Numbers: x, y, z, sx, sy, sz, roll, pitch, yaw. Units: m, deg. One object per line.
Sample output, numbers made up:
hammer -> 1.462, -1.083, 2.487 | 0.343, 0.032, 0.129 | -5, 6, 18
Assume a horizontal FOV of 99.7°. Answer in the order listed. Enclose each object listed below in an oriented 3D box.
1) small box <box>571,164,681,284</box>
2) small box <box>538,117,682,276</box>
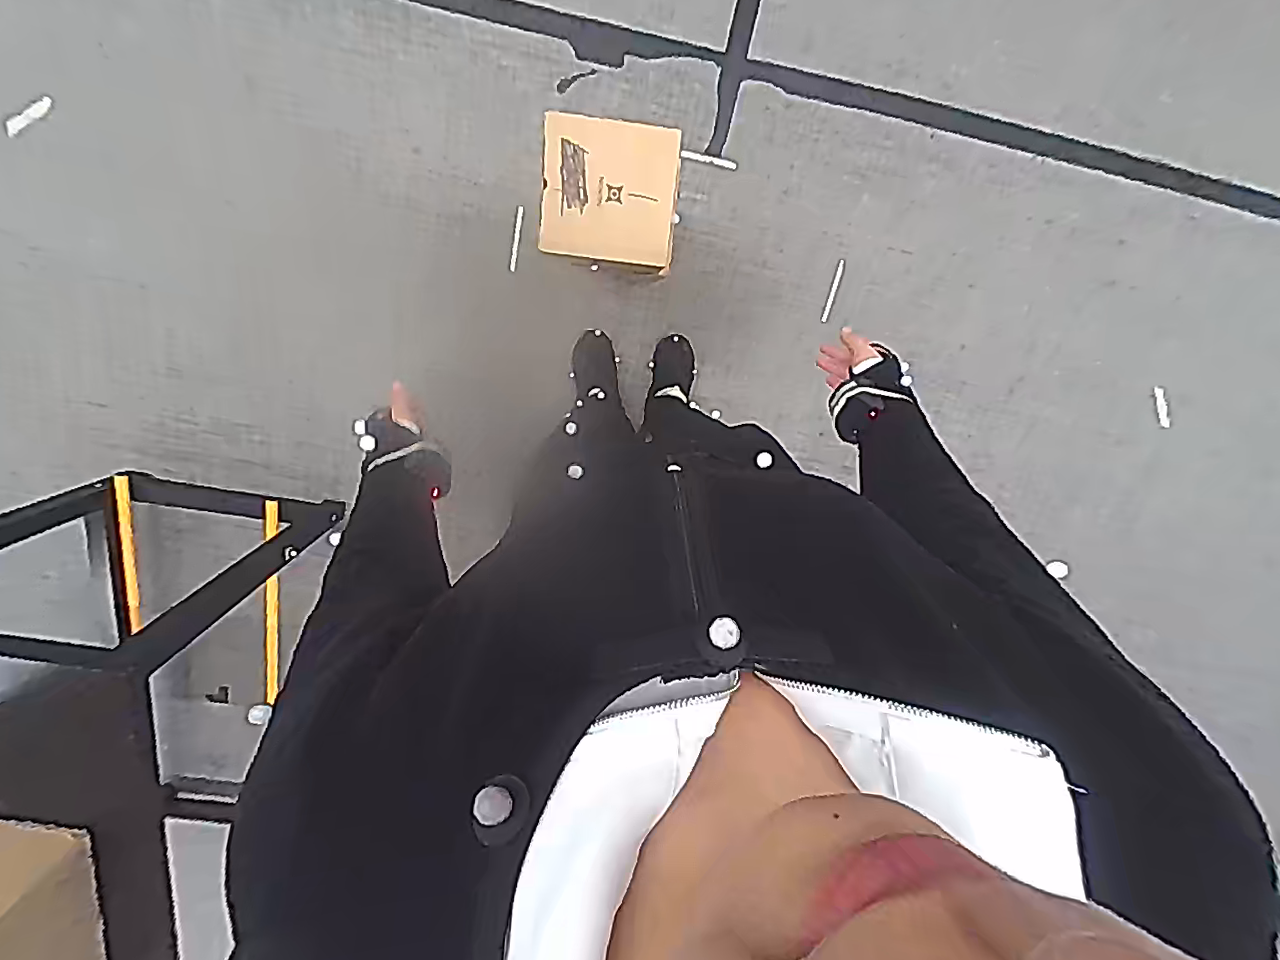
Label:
small box -> -0.027, -0.441, 0.935 | 0.168, 0.176, 0.179 | 5, 108, -2
small box -> -0.043, -0.392, 0.778 | 0.179, 0.176, 0.168 | 6, 108, -3
